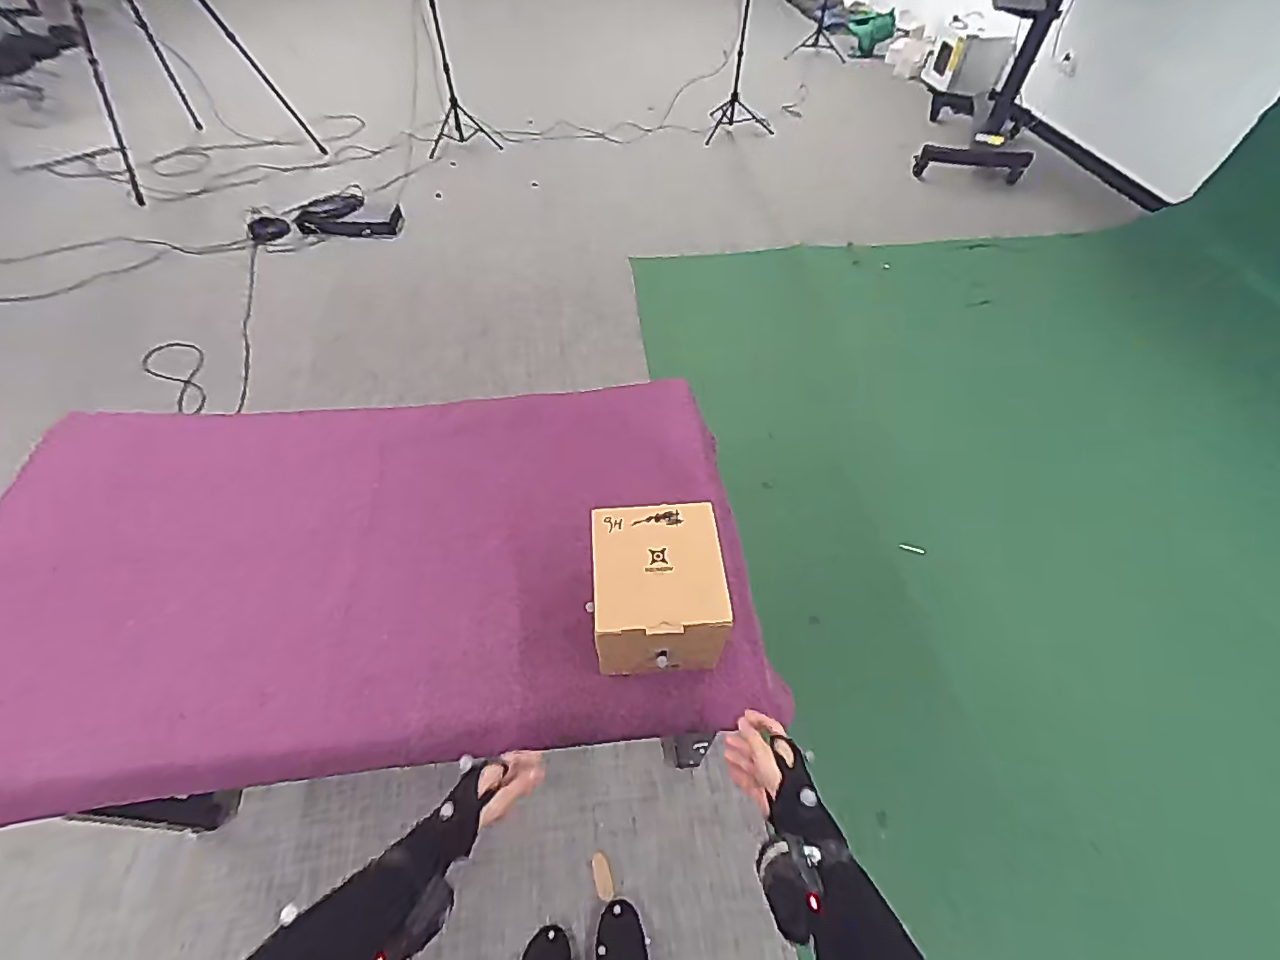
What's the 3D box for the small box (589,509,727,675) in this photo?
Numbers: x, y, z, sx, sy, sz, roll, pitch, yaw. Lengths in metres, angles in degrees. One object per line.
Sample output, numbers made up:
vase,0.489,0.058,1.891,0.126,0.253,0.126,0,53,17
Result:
small box,0.018,0.159,0.742,0.168,0.176,0.179,-3,54,-2
